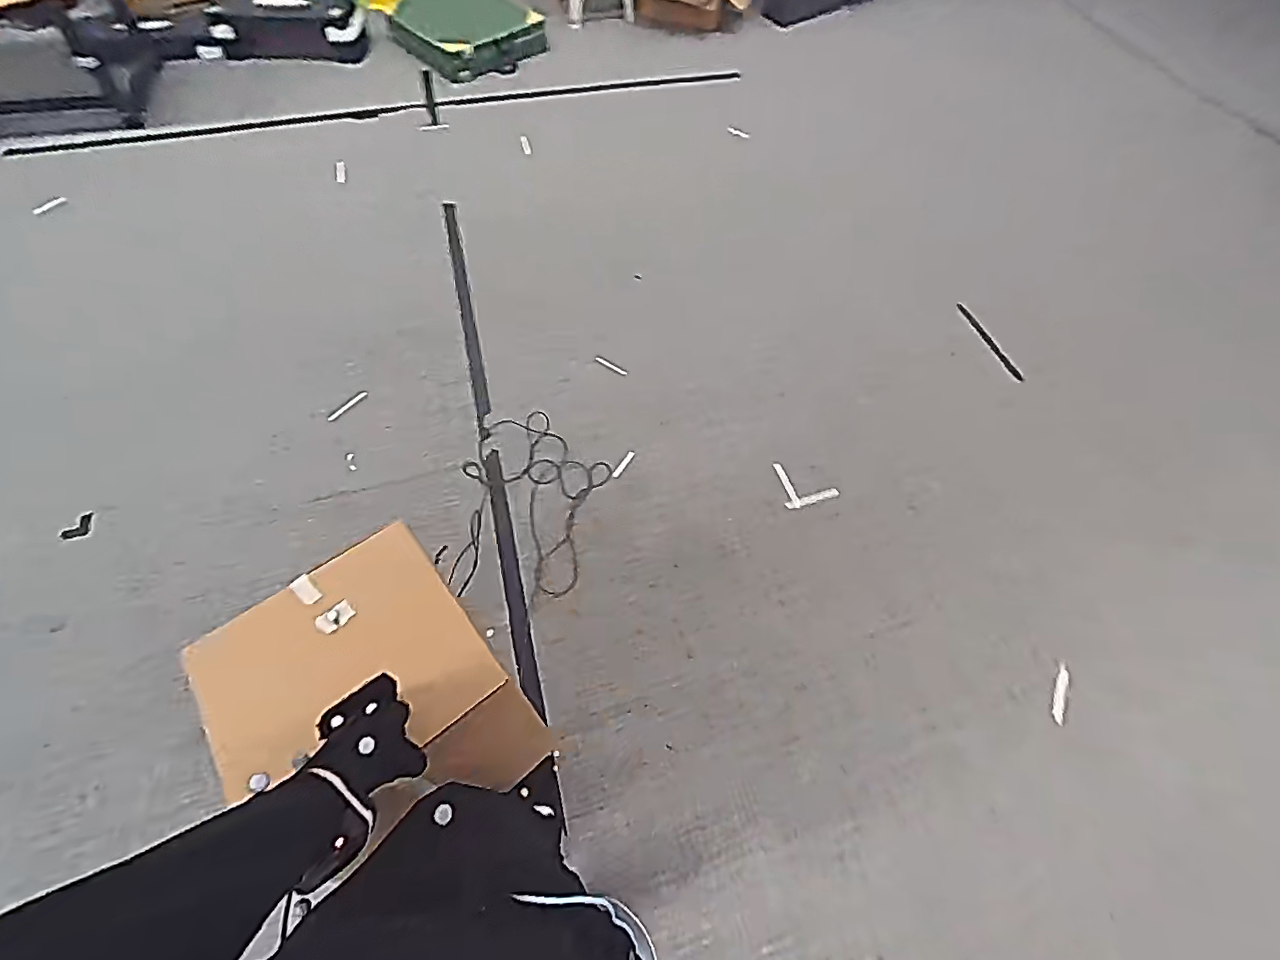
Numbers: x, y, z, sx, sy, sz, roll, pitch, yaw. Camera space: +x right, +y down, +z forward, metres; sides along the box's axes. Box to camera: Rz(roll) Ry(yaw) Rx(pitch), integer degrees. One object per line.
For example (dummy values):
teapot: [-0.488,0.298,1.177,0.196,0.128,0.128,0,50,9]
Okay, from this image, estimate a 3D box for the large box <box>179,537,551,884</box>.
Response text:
large box: [-0.385,0.362,0.846,0.320,0.408,0.320,-36,60,-21]
